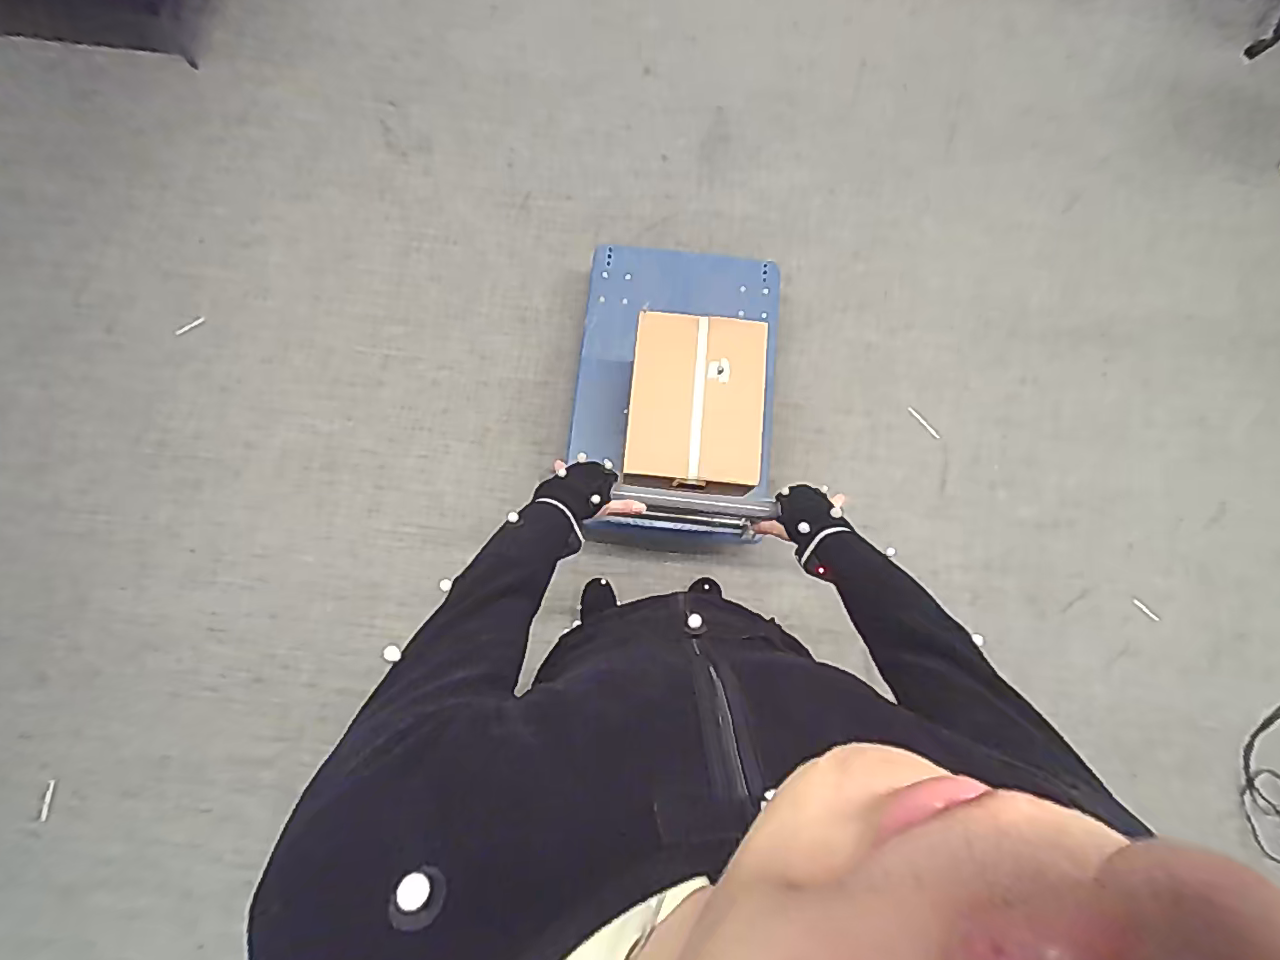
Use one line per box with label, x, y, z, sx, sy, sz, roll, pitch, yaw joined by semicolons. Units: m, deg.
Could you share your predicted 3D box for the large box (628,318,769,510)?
large box;0.138;-0.150;1.390;0.320;0.320;0.408;5;78;-1
